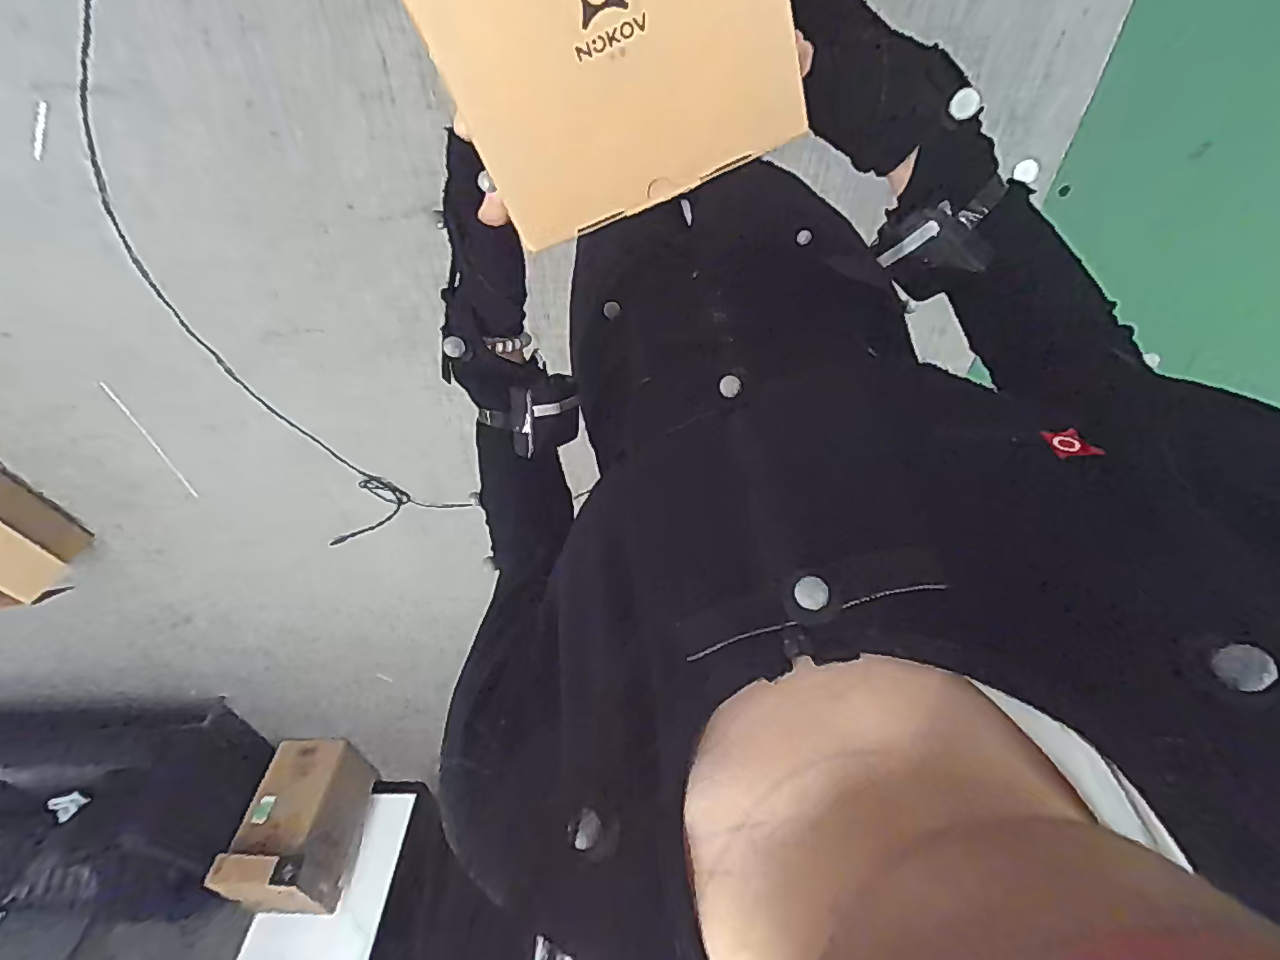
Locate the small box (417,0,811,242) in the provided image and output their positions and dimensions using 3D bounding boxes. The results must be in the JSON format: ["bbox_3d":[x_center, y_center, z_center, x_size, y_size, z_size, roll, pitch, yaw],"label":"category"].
[{"bbox_3d":[-0.021,-0.273,0.307,0.168,0.176,0.179,-19,130,11],"label":"small box"}]
